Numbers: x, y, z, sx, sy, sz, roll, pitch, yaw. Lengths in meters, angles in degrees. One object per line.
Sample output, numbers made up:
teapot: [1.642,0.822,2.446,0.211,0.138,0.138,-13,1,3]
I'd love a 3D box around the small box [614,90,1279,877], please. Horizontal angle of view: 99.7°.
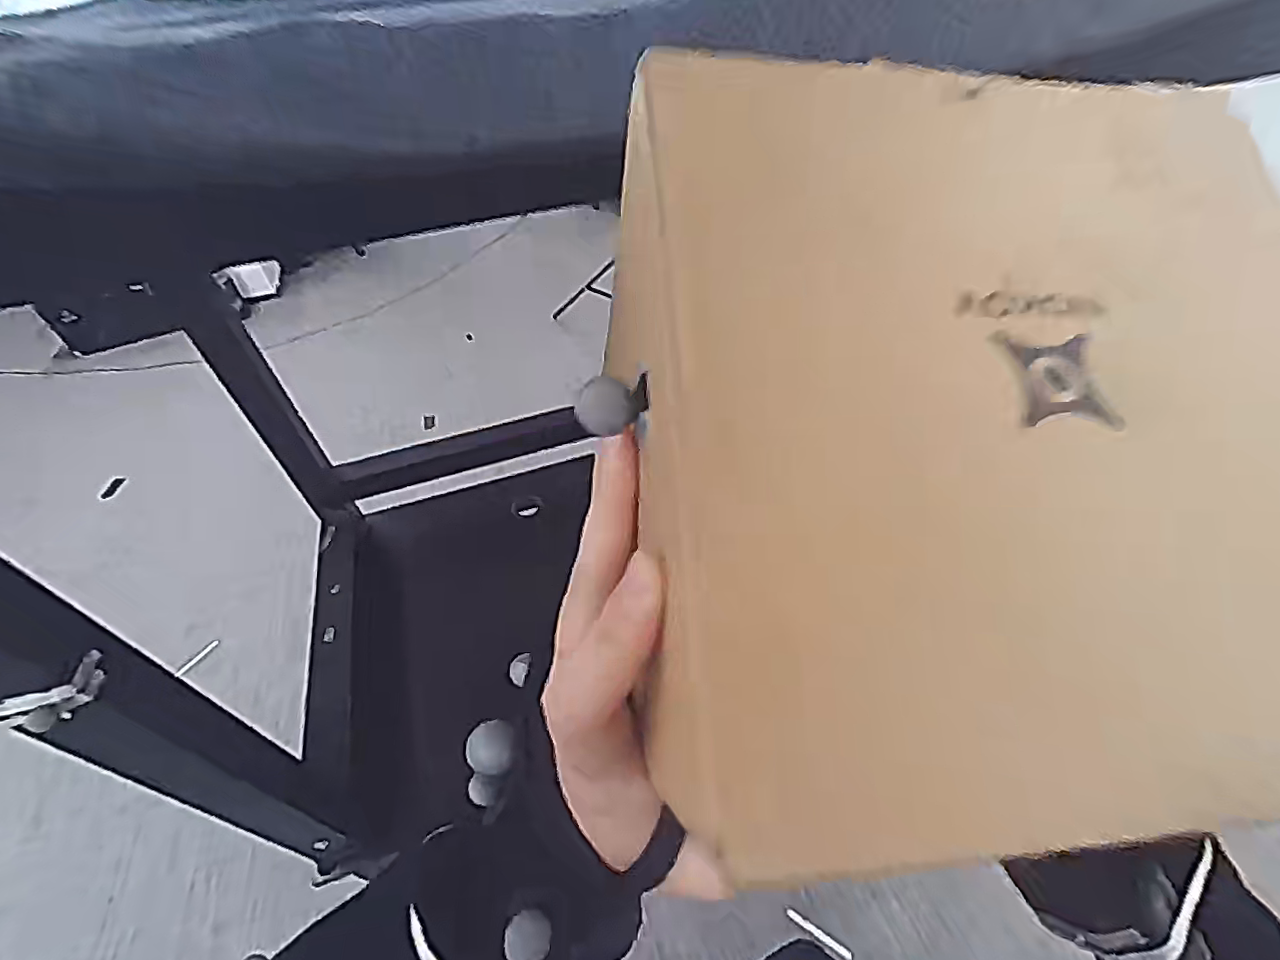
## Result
small box: [0.079,0.006,0.196,0.168,0.176,0.179,-1,70,-7]
